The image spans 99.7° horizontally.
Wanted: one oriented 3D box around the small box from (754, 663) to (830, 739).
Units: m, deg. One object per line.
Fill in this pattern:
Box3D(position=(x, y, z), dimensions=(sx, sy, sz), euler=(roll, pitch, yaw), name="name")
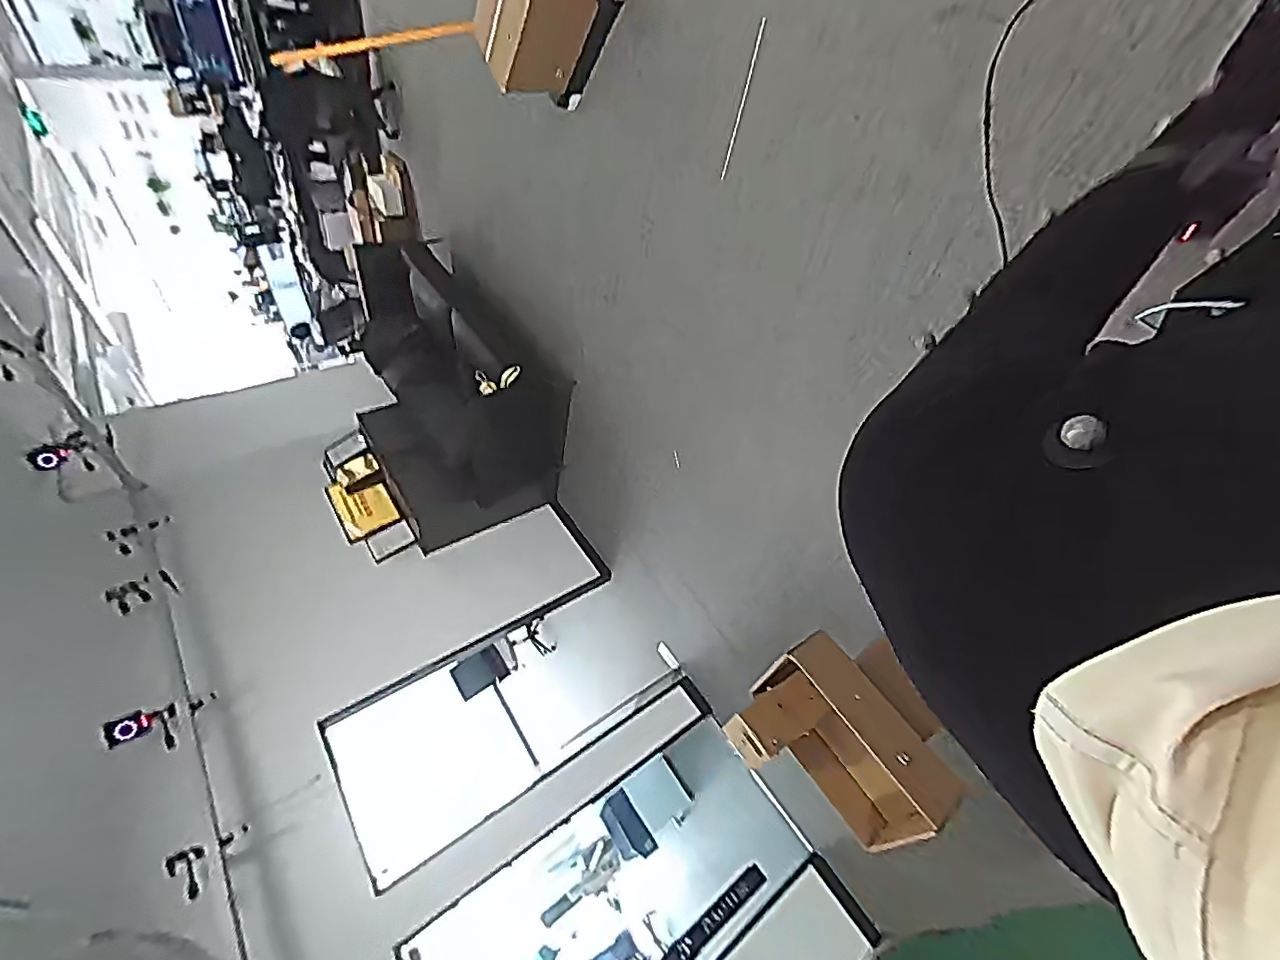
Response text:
Box3D(position=(0.549, 0.794, 1.948), dimensions=(0.168, 0.176, 0.179), euler=(52, 146, 26), name="small box")
